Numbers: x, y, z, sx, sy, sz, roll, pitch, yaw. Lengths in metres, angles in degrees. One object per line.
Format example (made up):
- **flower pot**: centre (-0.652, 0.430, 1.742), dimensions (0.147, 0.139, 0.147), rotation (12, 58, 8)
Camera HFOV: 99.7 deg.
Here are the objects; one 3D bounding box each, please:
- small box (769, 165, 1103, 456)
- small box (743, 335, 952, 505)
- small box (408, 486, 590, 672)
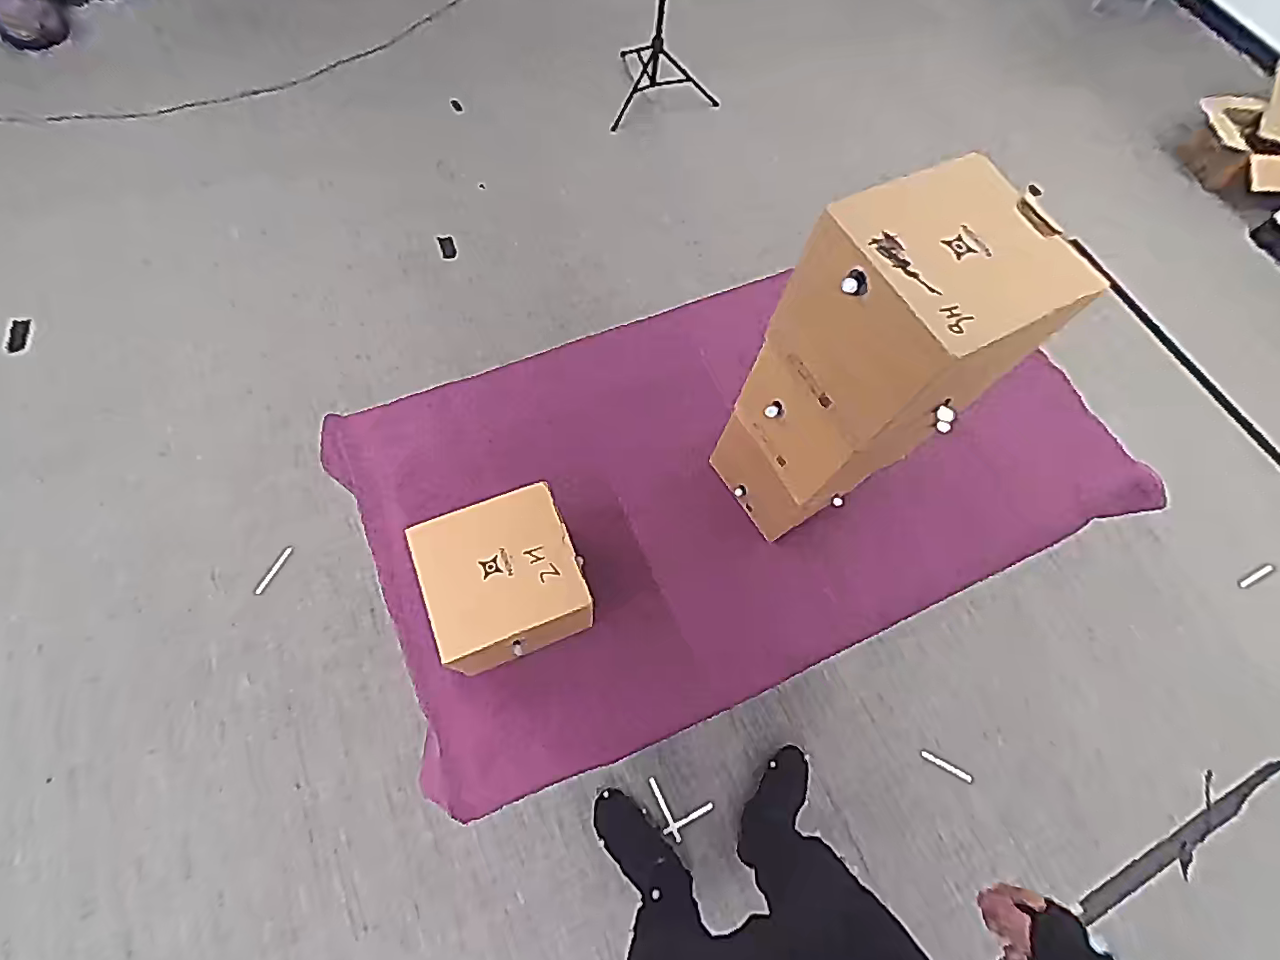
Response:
- **small box**: centre (0.252, -0.149, 0.508), dimensions (0.179, 0.176, 0.168), rotation (-24, 71, -16)
- **small box**: centre (0.244, -0.092, 0.661), dimensions (0.179, 0.176, 0.168), rotation (-24, 72, -15)
- **small box**: centre (-0.171, 0.135, 0.699), dimensions (0.179, 0.176, 0.168), rotation (-19, 70, -14)
